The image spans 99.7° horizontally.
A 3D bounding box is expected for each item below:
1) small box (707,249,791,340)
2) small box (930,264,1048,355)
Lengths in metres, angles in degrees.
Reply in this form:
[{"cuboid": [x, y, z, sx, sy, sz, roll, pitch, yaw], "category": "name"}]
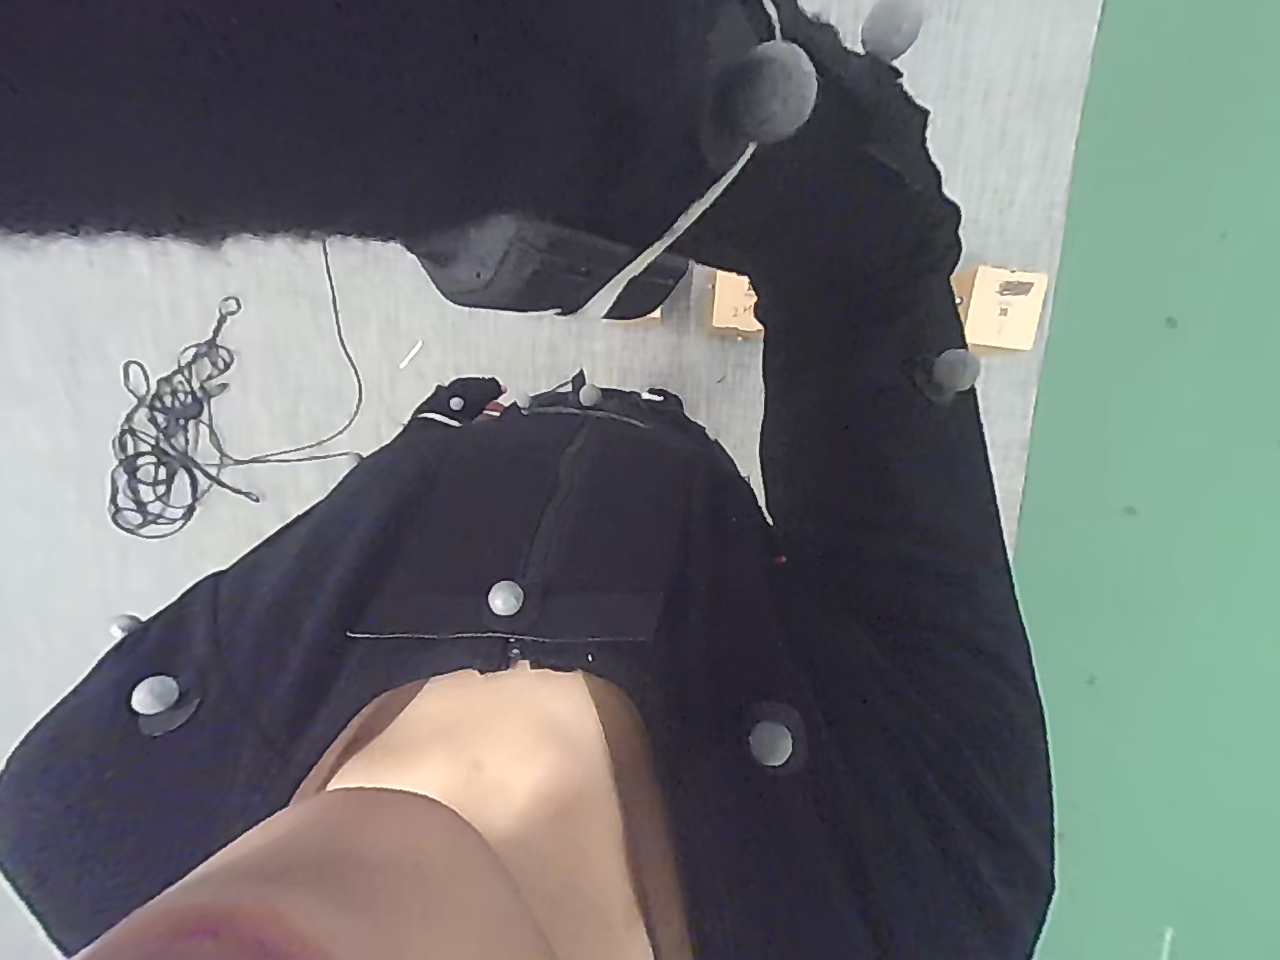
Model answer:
[{"cuboid": [0.258, -0.447, 1.320, 0.168, 0.176, 0.179, 4, 98, 1], "category": "small box"}, {"cuboid": [0.838, -0.408, 1.318, 0.168, 0.176, 0.179, 7, 99, 0], "category": "small box"}]
